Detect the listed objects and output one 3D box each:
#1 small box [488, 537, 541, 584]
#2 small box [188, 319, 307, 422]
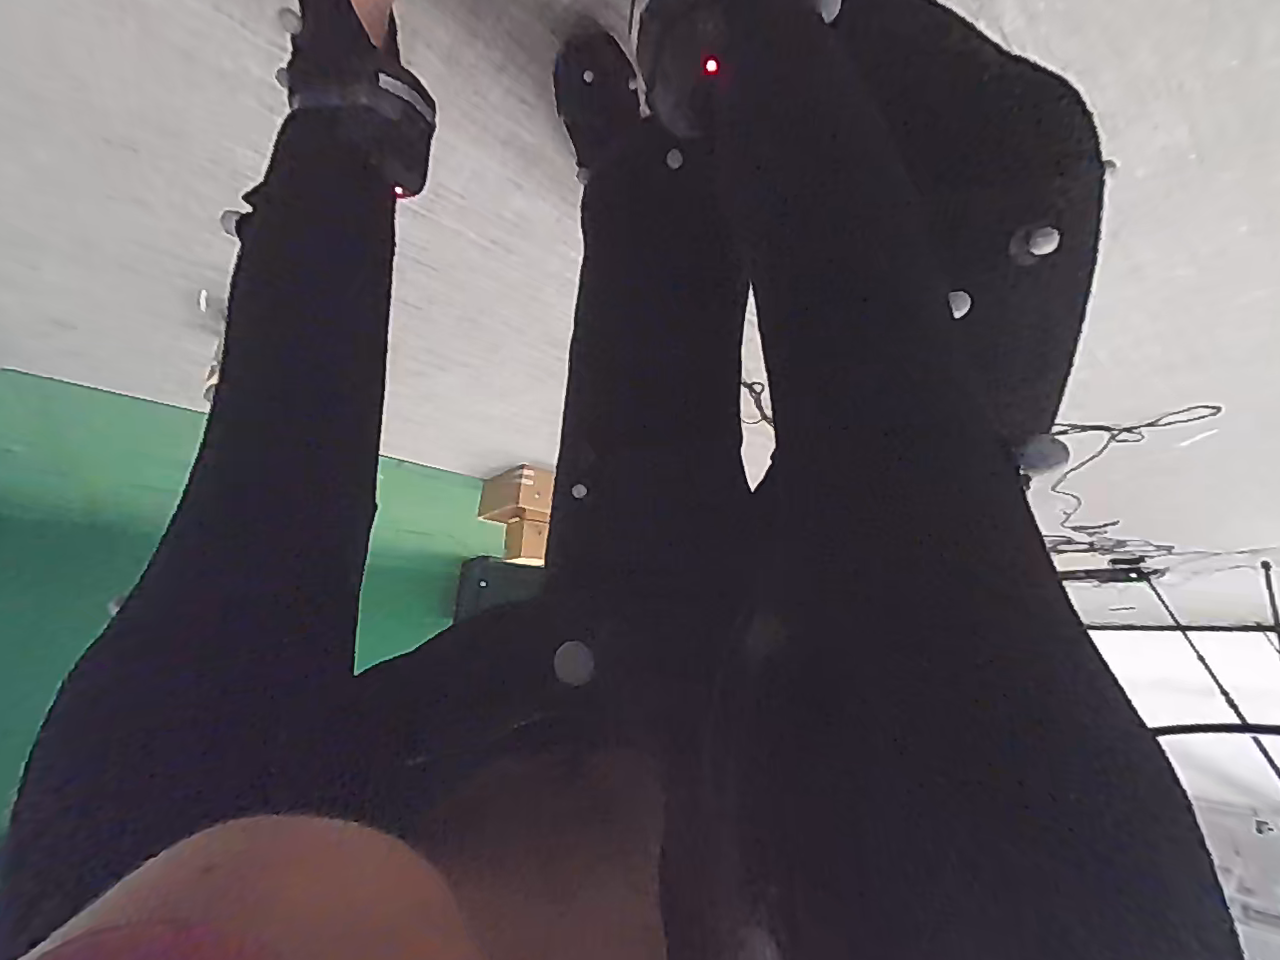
[{"bbox_3d":[-0.548,0.356,2.383,0.168,0.176,0.179,17,156,-38],"label":"small box"},{"bbox_3d":[-0.940,-0.260,1.305,0.168,0.176,0.179,-12,157,36],"label":"small box"}]
